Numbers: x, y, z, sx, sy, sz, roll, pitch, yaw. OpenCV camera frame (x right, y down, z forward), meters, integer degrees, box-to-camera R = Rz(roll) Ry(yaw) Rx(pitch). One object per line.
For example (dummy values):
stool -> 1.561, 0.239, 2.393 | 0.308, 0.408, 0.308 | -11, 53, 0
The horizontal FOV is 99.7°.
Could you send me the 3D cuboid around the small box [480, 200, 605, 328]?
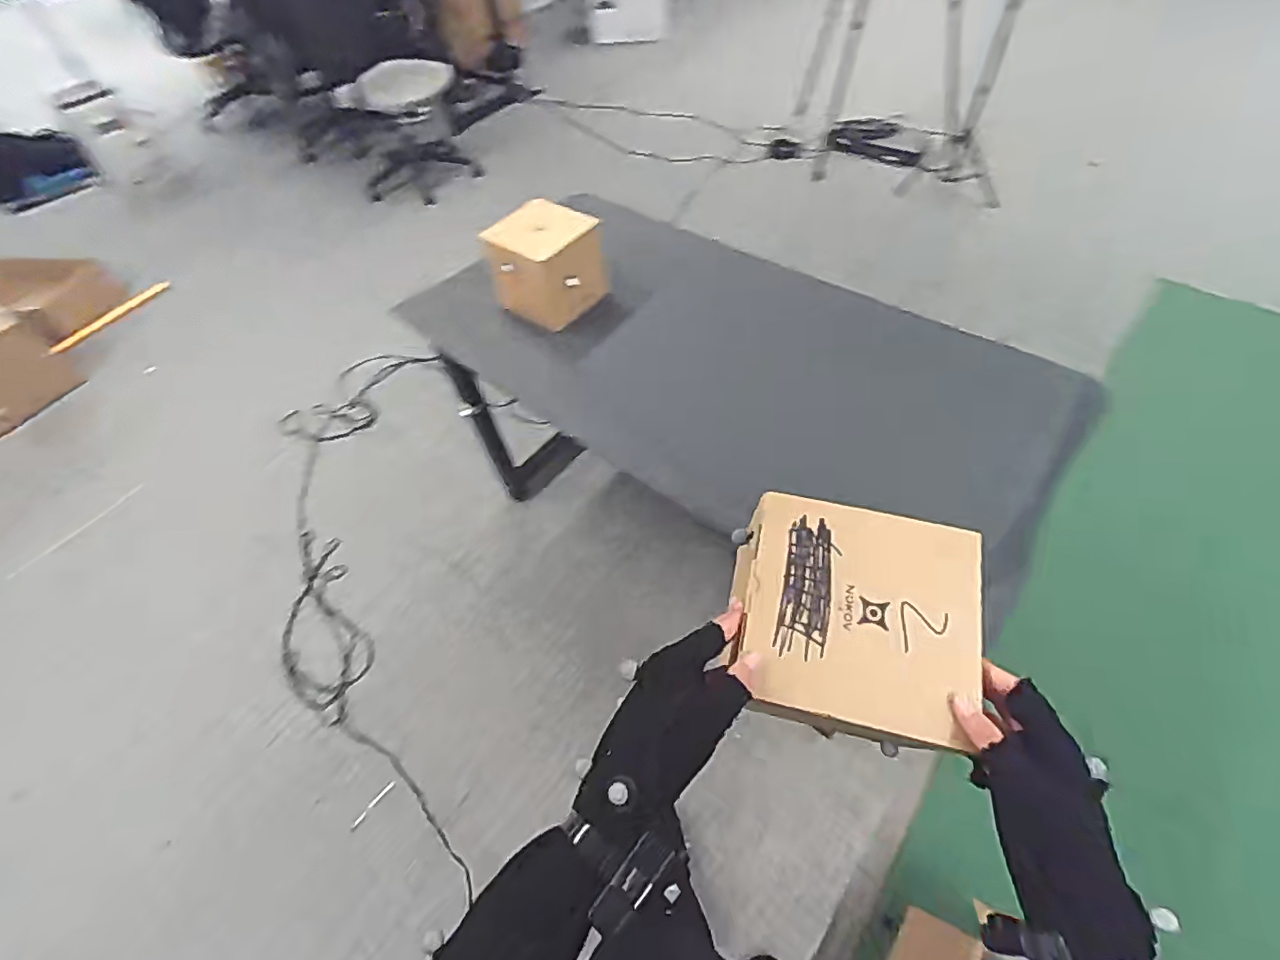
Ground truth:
small box -> -0.192, -0.443, 1.122 | 0.179, 0.176, 0.168 | 30, 63, 25
